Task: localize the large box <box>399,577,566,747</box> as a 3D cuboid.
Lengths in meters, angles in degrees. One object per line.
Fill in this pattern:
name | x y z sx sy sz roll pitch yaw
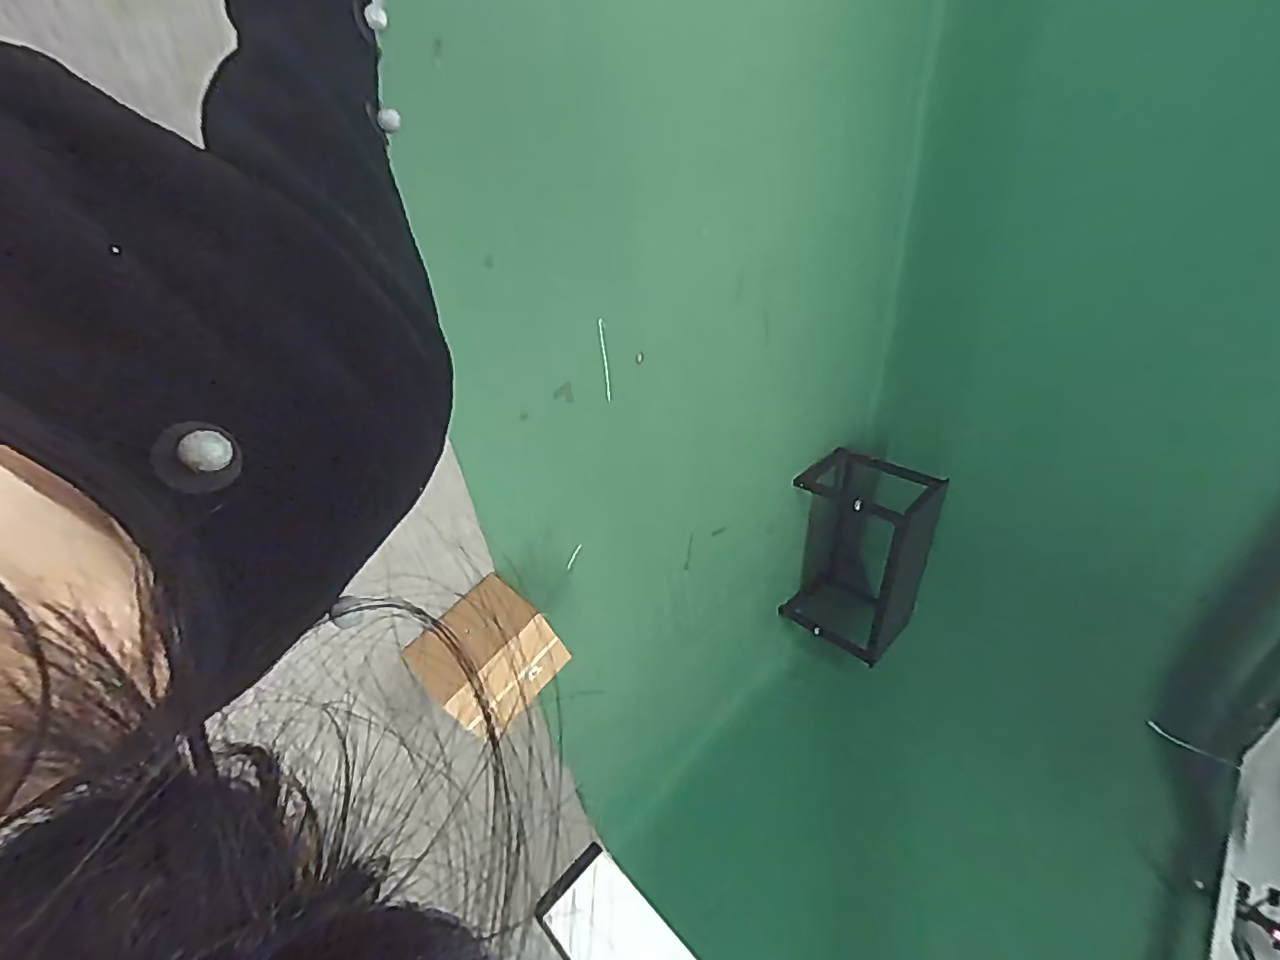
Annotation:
large box | -0.545 0.626 1.900 0.408 0.320 0.320 -44 137 -25
